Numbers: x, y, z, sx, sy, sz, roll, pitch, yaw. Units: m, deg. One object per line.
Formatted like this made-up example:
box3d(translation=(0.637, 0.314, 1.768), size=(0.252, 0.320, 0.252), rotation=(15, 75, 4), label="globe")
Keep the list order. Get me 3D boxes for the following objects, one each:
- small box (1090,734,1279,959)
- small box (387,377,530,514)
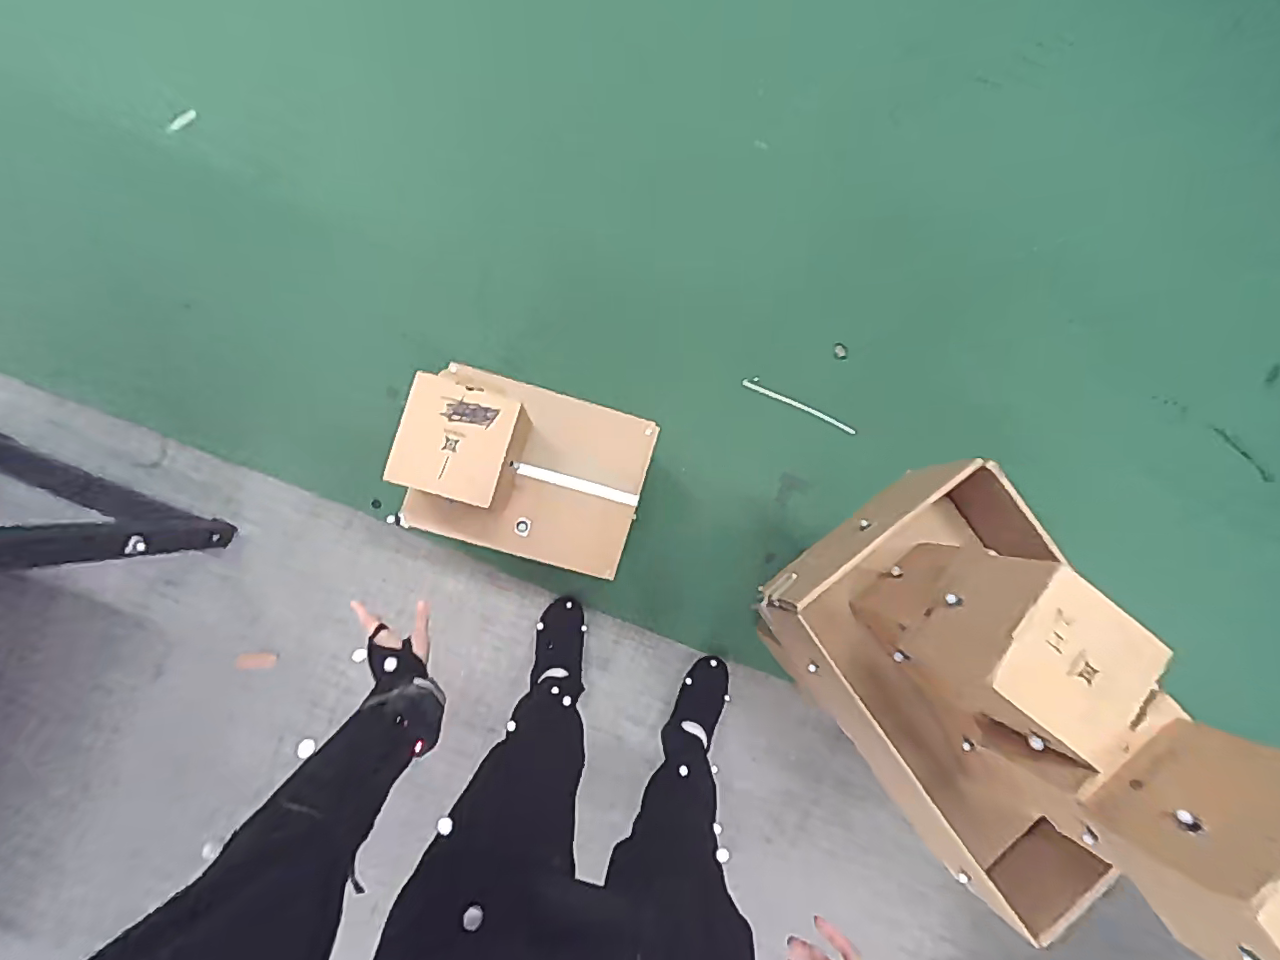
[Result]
box3d(translation=(0.604, 0.375, 0.521), size=(0.168, 0.176, 0.179), rotation=(-36, 87, -6), label="small box")
box3d(translation=(-0.289, -0.048, 0.906), size=(0.168, 0.176, 0.179), rotation=(16, 84, -4), label="small box")
